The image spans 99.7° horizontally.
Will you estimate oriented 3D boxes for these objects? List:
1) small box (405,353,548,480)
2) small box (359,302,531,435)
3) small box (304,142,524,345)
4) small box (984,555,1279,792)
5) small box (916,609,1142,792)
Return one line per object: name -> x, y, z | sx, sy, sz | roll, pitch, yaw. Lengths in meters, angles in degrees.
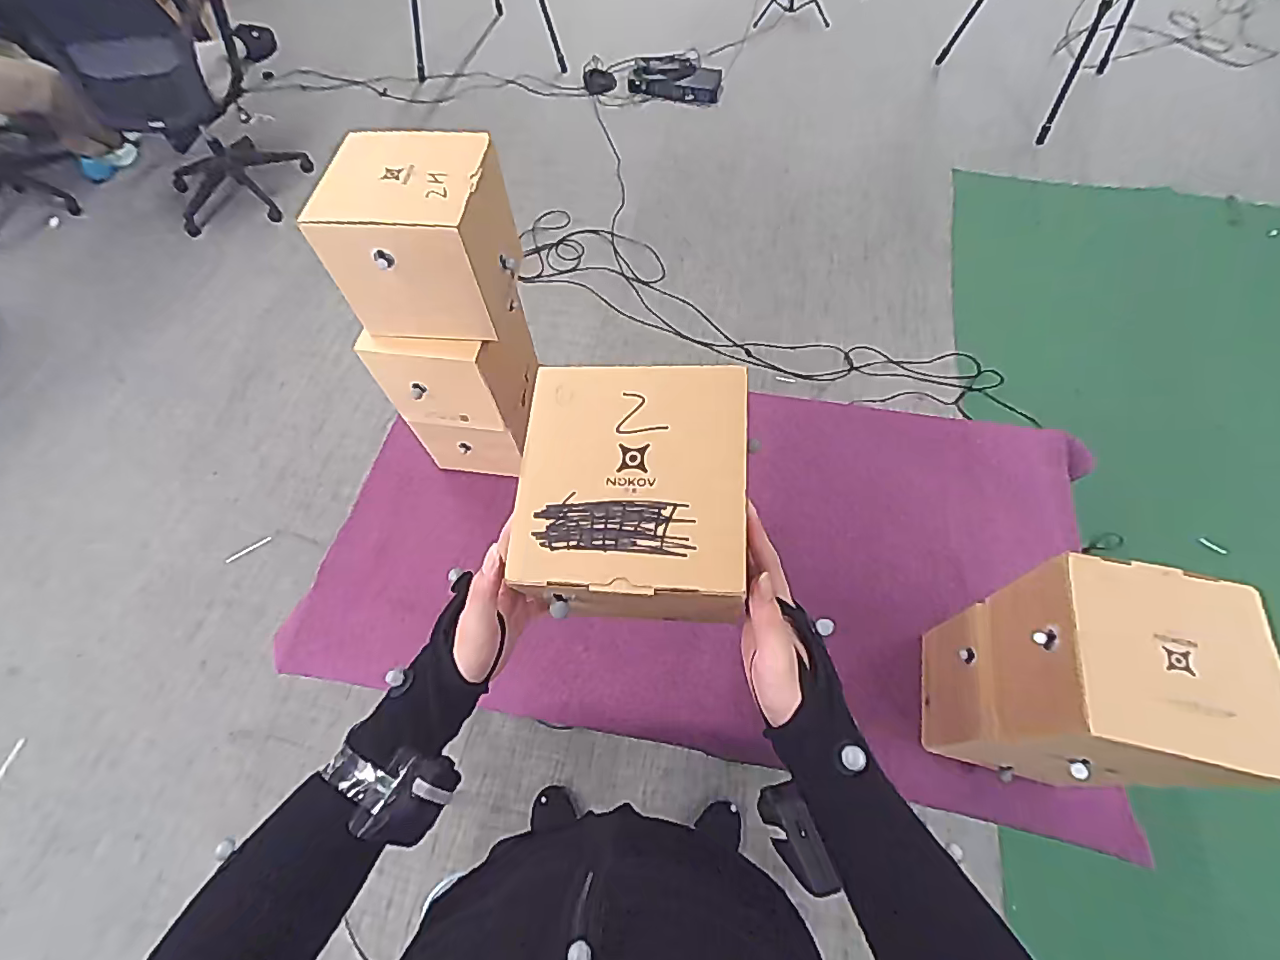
small box -> -0.270, -0.113, 0.946 | 0.179, 0.176, 0.168 | 6, 61, 5
small box -> -0.270, -0.186, 0.801 | 0.168, 0.176, 0.179 | 7, 61, 5
small box -> -0.258, -0.286, 0.669 | 0.179, 0.176, 0.168 | 4, 61, 3
small box -> 0.484, 0.204, 0.561 | 0.168, 0.176, 0.179 | 11, 62, 10
small box -> 0.486, 0.288, 0.702 | 0.179, 0.176, 0.168 | 13, 61, 9
